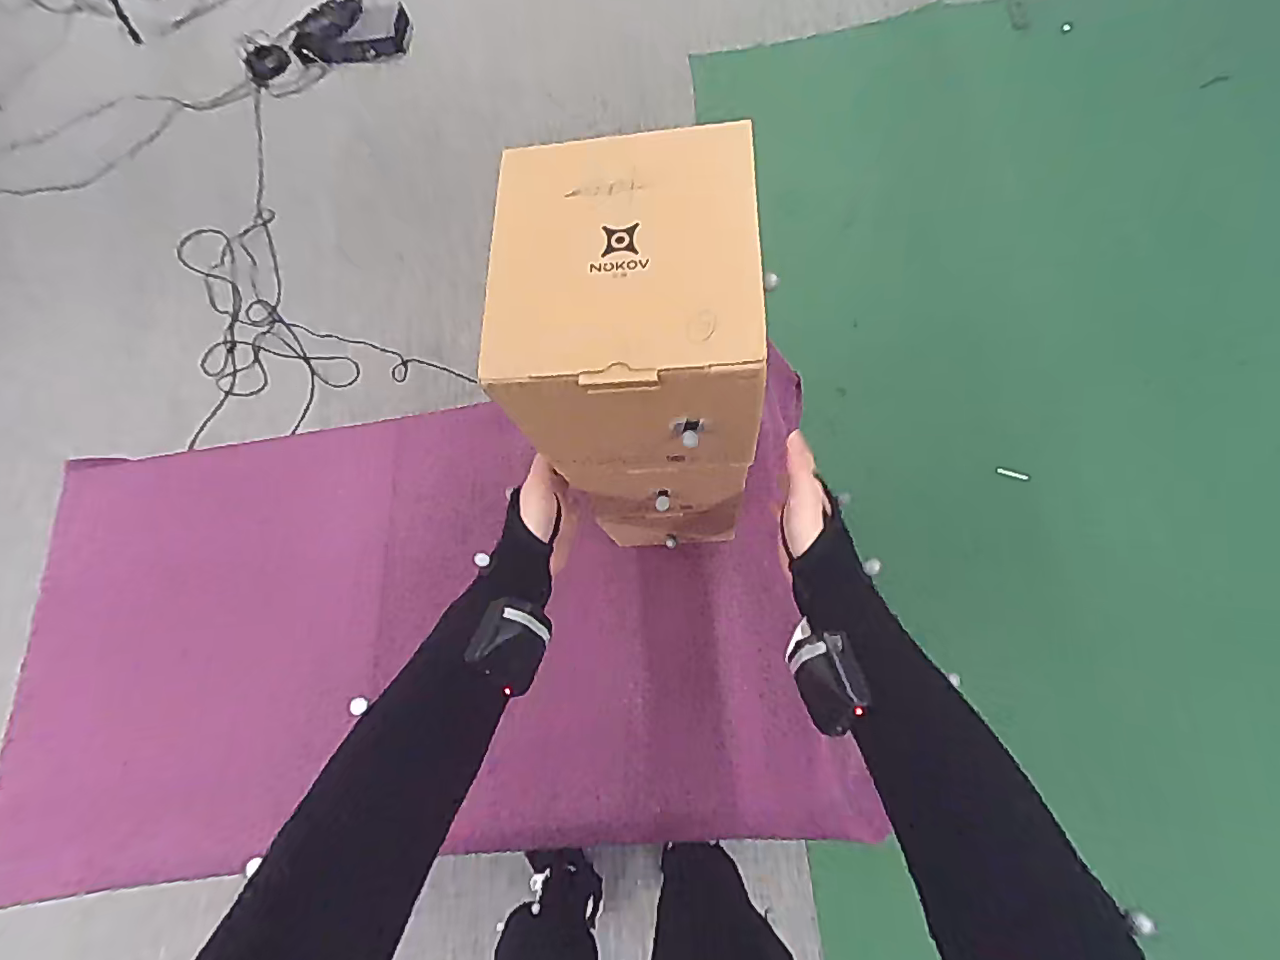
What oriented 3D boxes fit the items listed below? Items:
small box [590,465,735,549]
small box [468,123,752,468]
[{"bbox_3d":[0.032,-0.014,0.707,0.168,0.176,0.179,-5,72,8],"label":"small box"},{"bbox_3d":[-0.005,-0.111,0.396,0.168,0.176,0.179,-2,72,8],"label":"small box"}]
